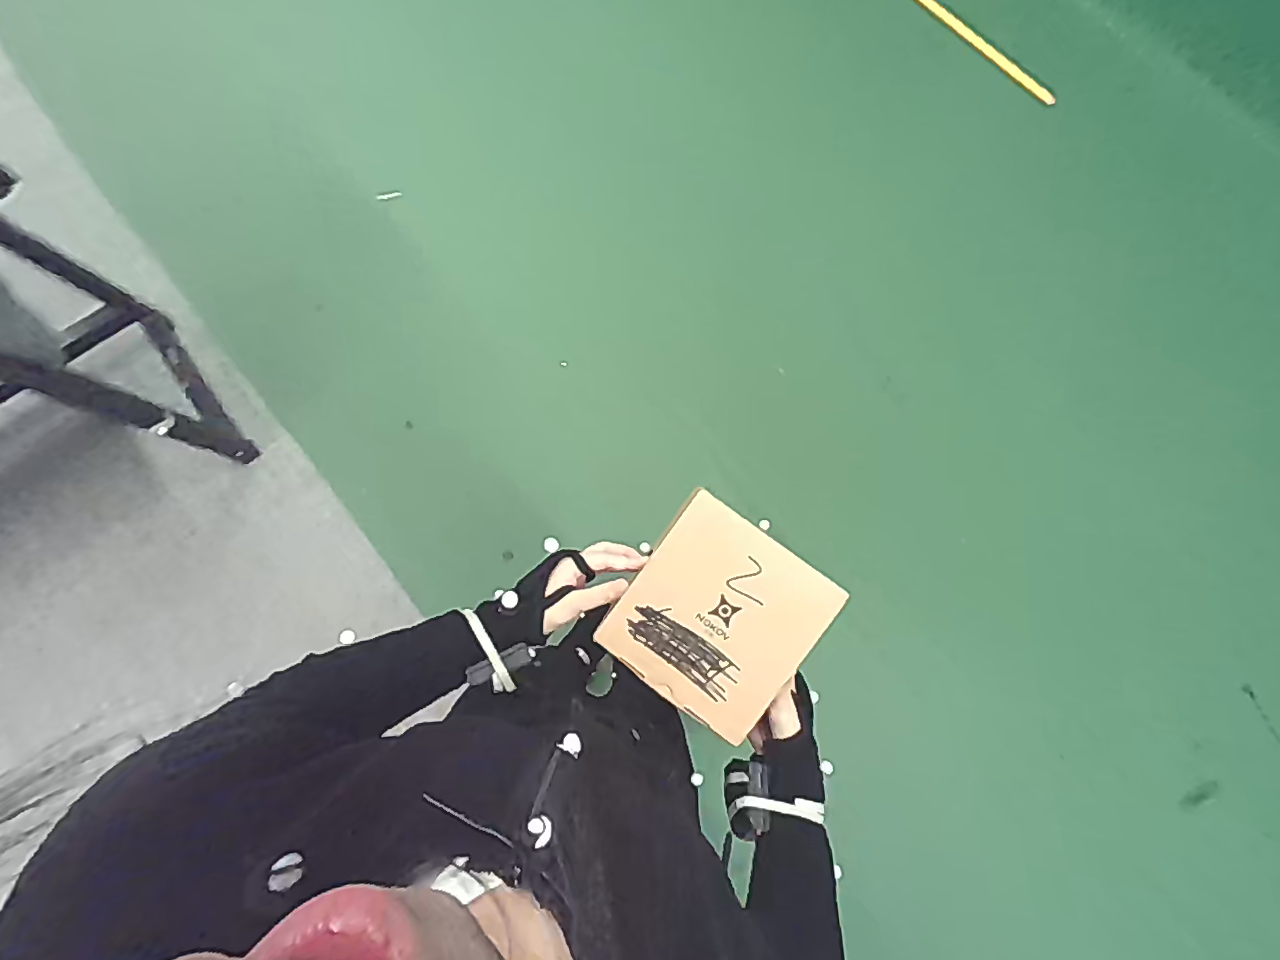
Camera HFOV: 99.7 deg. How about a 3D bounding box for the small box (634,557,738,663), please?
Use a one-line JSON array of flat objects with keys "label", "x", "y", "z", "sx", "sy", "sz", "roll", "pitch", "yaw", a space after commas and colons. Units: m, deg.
[{"label": "small box", "x": 0.100, "y": 0.299, "z": 1.264, "sx": 0.179, "sy": 0.176, "sz": 0.168, "roll": -36, "pitch": 79, "yaw": -7}]
